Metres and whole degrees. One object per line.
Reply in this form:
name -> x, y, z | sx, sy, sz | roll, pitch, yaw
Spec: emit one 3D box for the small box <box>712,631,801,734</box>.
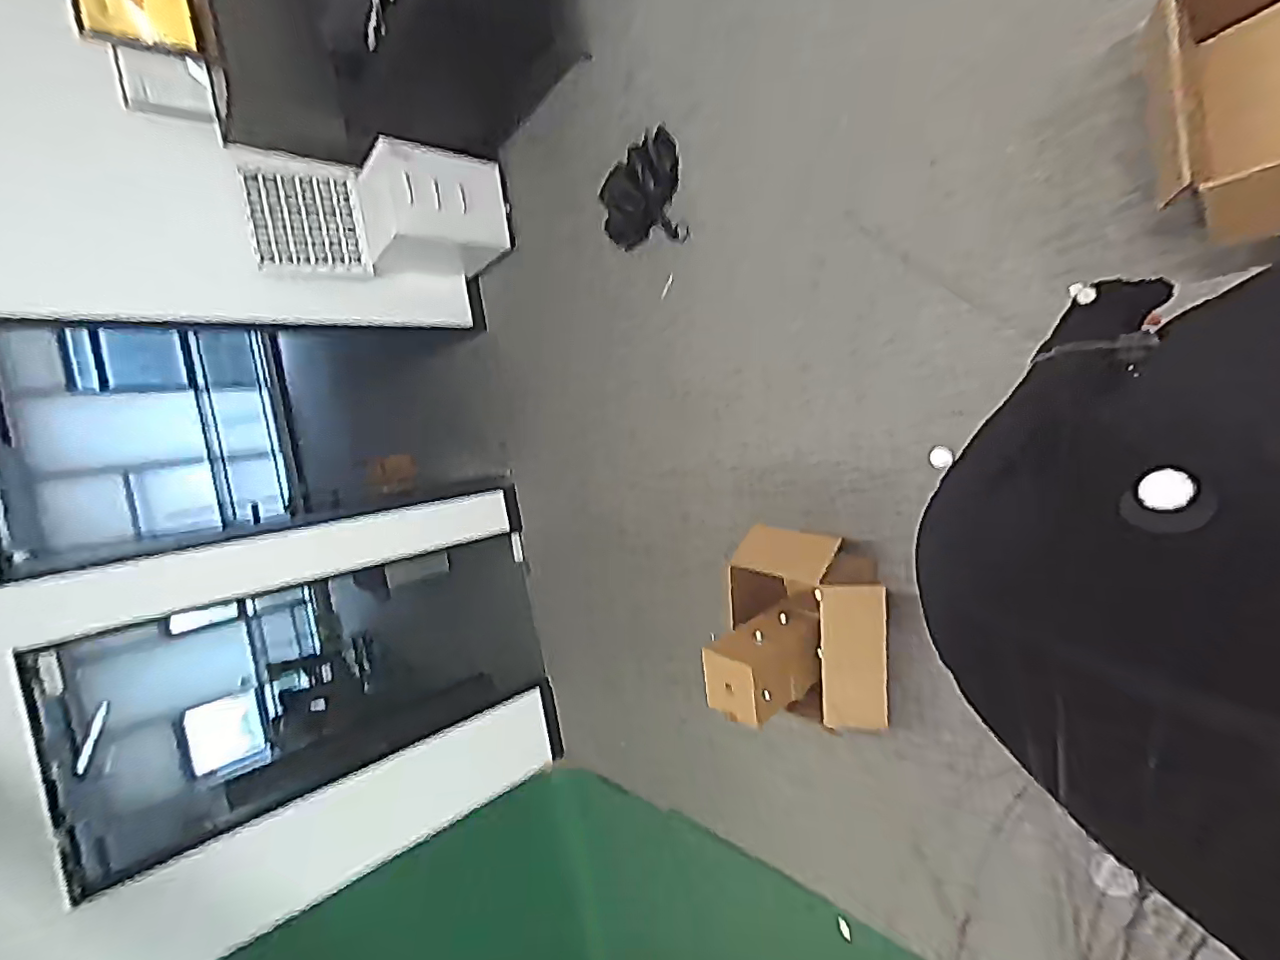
small box -> 0.316, 0.534, 1.450 | 0.168, 0.176, 0.179 | 4, 104, 48
